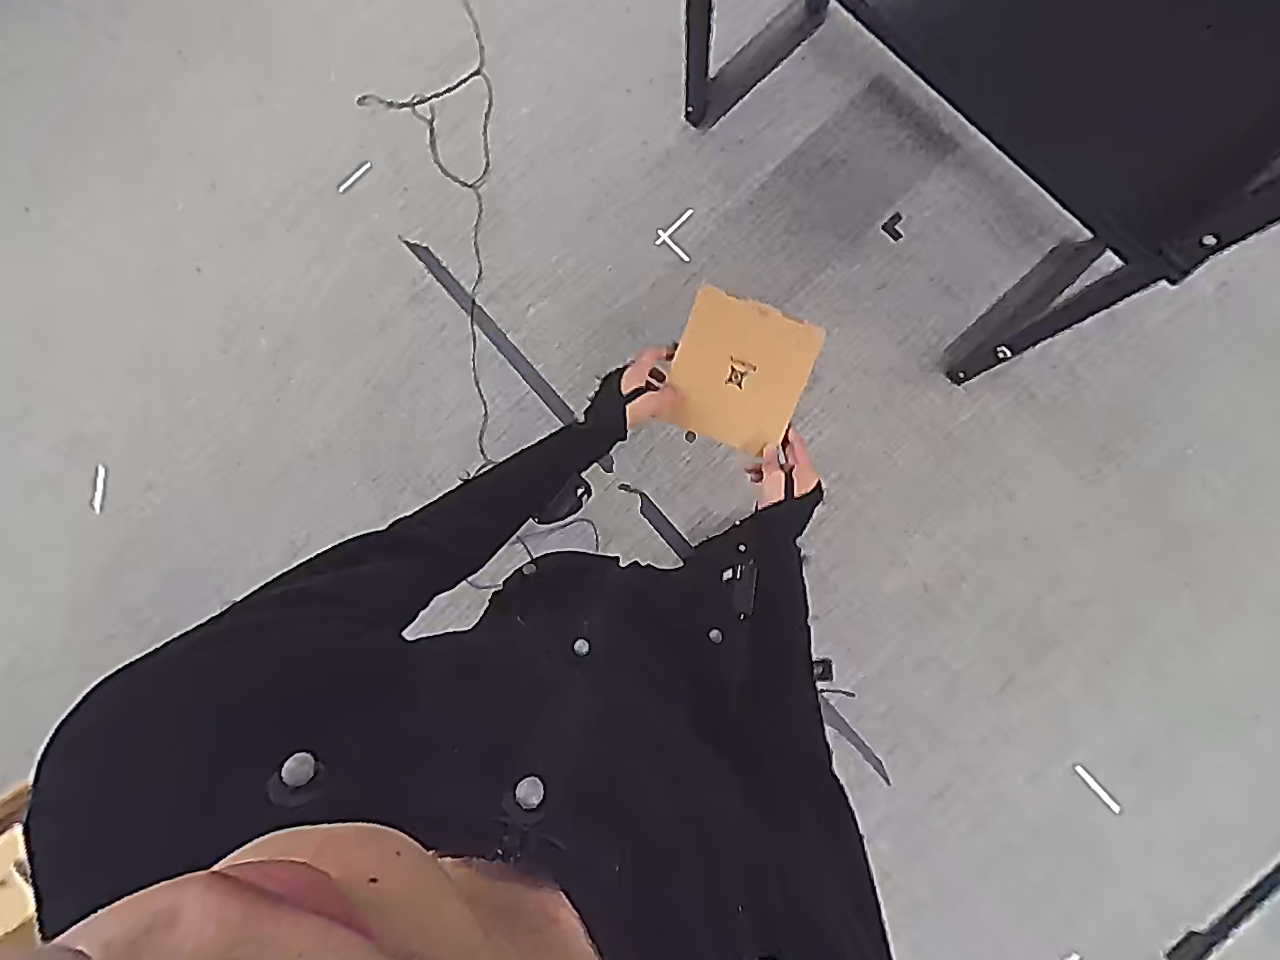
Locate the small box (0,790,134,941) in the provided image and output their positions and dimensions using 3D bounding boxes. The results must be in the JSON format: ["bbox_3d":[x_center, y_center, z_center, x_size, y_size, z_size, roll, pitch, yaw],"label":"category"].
[{"bbox_3d":[-1.259,0.819,1.169,0.179,0.176,0.168,-36,84,3],"label":"small box"}]

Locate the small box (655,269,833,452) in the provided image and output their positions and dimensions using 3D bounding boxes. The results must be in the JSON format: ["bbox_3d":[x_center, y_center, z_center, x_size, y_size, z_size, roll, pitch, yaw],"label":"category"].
[{"bbox_3d":[0.128,-0.151,0.724,0.168,0.176,0.179,20,97,0],"label":"small box"}]
